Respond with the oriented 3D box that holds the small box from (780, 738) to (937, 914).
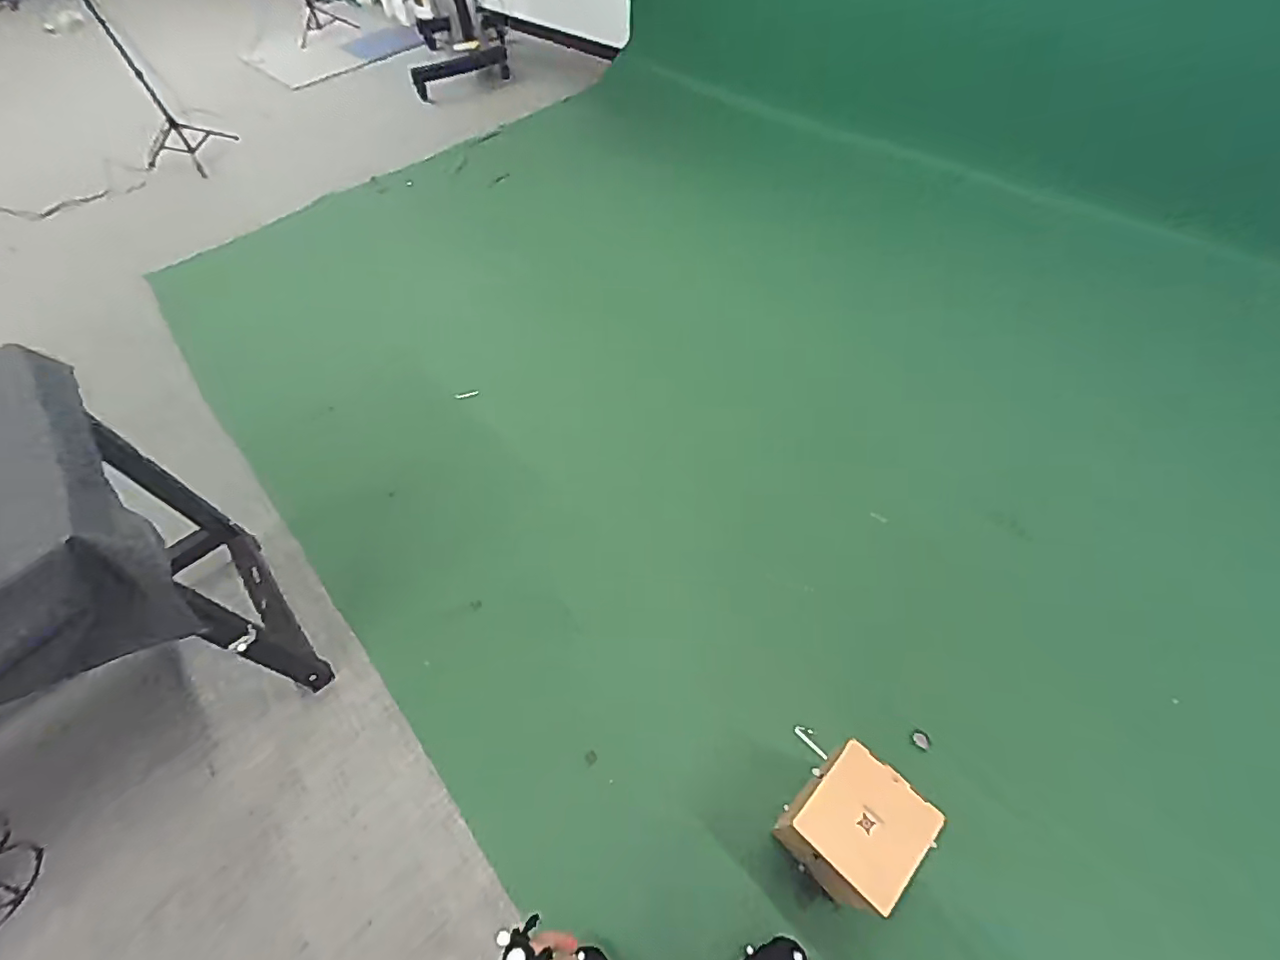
[{"bbox_3d":[0.351,0.573,0.904,0.168,0.176,0.179,38,65,26],"label":"small box"}]
